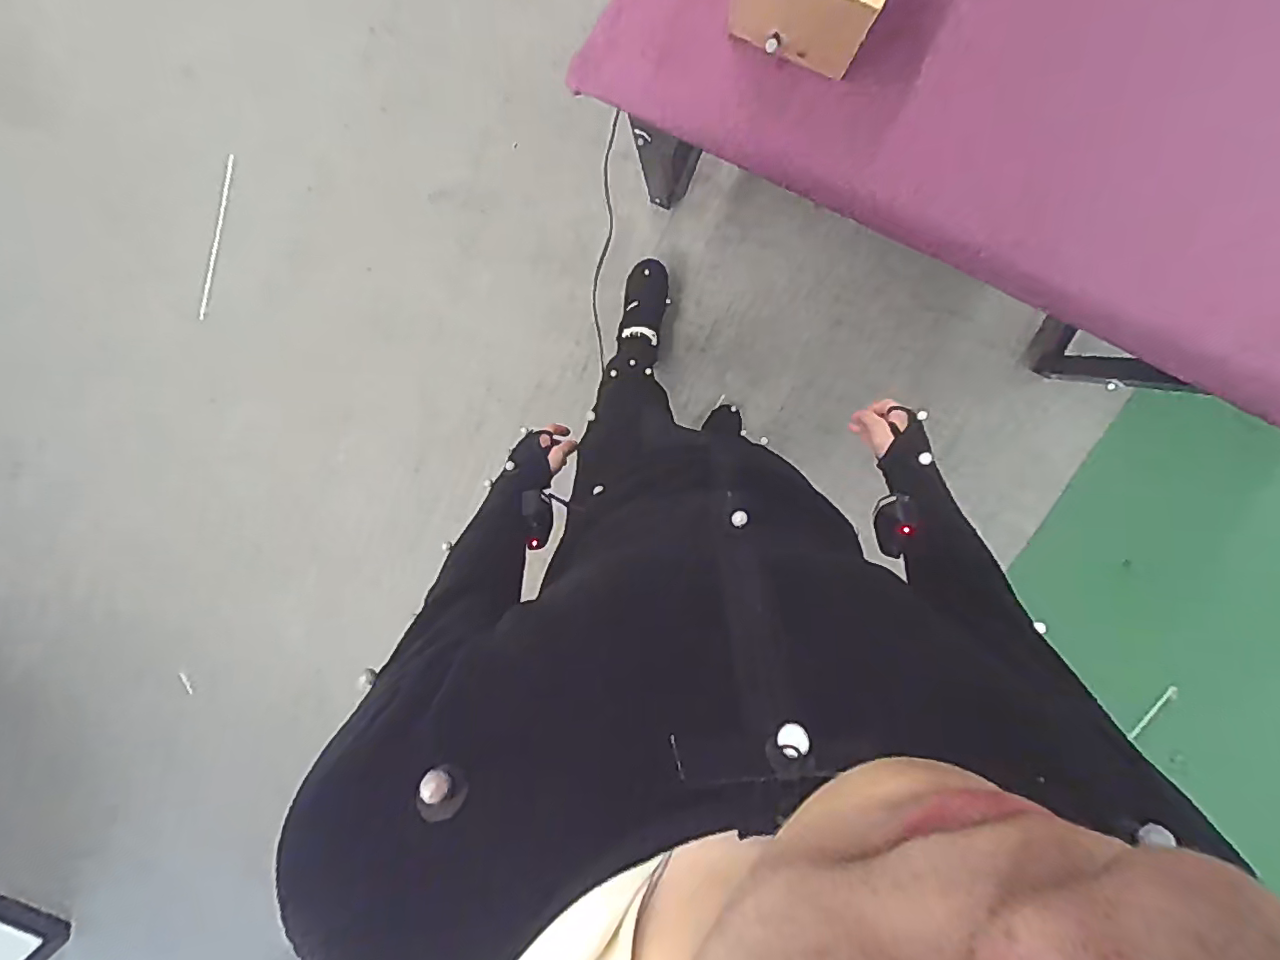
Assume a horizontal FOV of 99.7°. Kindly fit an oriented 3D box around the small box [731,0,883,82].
[{"bbox_3d":[0.213,-0.615,0.622,0.168,0.176,0.179,23,106,0],"label":"small box"}]
